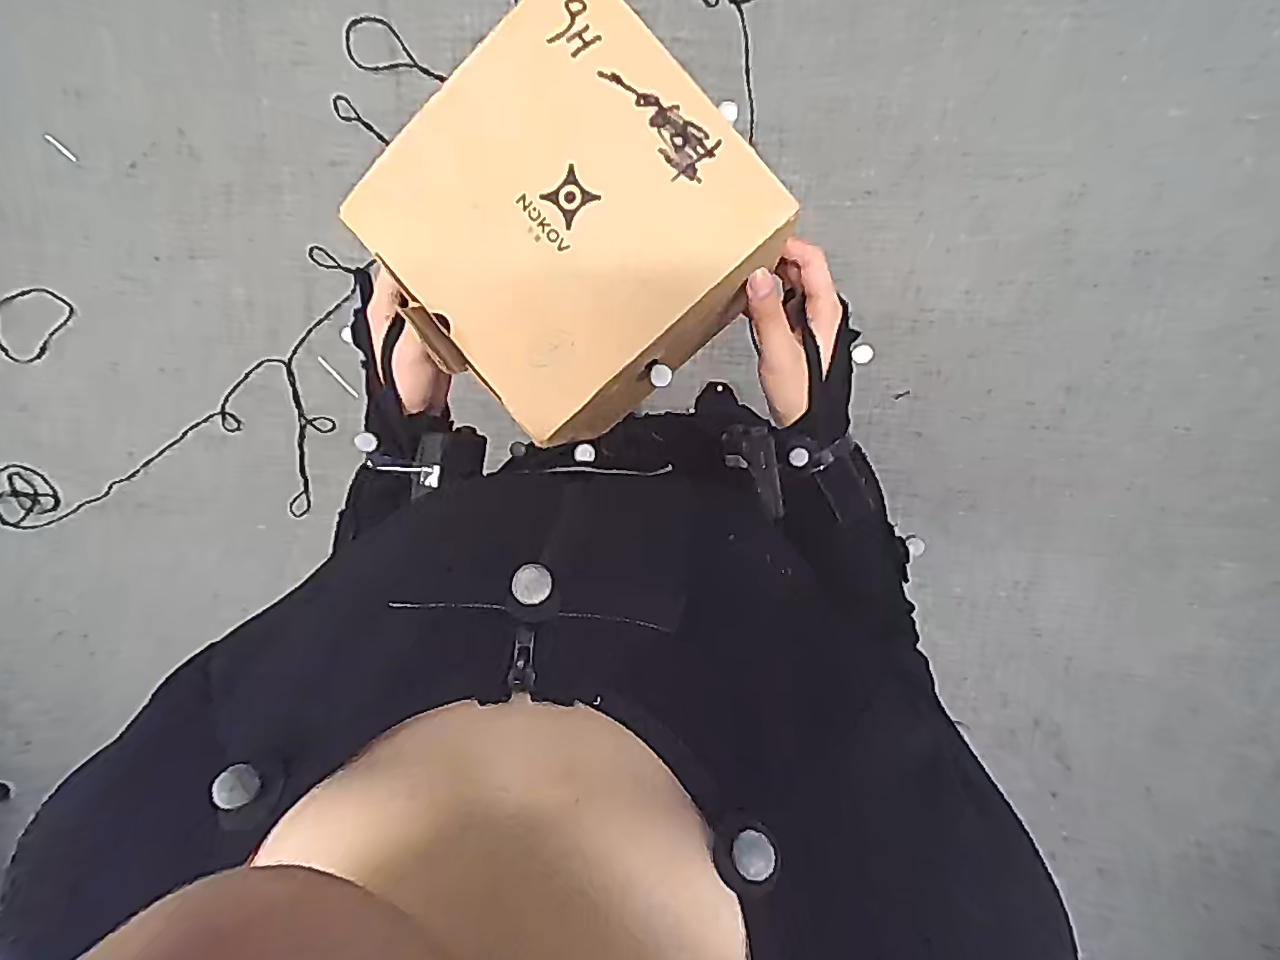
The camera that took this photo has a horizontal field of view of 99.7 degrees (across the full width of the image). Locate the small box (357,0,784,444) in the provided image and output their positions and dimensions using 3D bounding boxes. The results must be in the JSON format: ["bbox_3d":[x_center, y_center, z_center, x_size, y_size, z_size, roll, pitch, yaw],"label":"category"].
[{"bbox_3d":[-0.030,-0.143,0.359,0.179,0.176,0.168,-41,90,11],"label":"small box"}]
